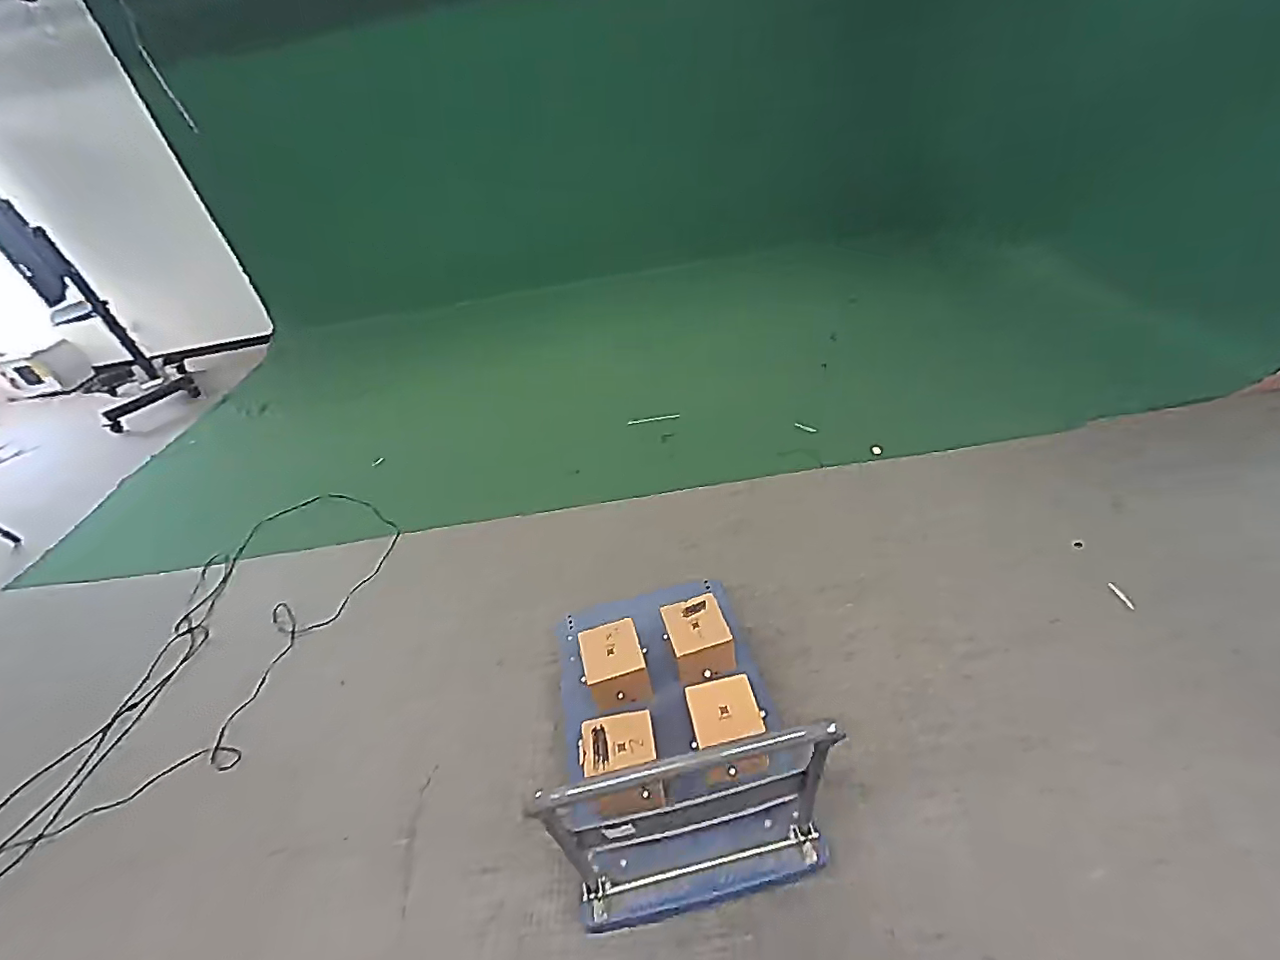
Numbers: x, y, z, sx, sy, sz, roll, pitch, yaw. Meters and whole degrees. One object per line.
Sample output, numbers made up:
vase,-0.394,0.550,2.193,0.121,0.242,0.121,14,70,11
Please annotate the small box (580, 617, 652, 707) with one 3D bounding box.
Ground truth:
small box,-0.068,0.538,1.581,0.168,0.176,0.179,-15,39,-6

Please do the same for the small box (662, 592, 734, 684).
small box,0.173,0.470,1.607,0.168,0.176,0.179,-16,40,-5

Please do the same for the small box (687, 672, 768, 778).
small box,0.223,0.633,1.397,0.168,0.176,0.179,-12,39,-2
